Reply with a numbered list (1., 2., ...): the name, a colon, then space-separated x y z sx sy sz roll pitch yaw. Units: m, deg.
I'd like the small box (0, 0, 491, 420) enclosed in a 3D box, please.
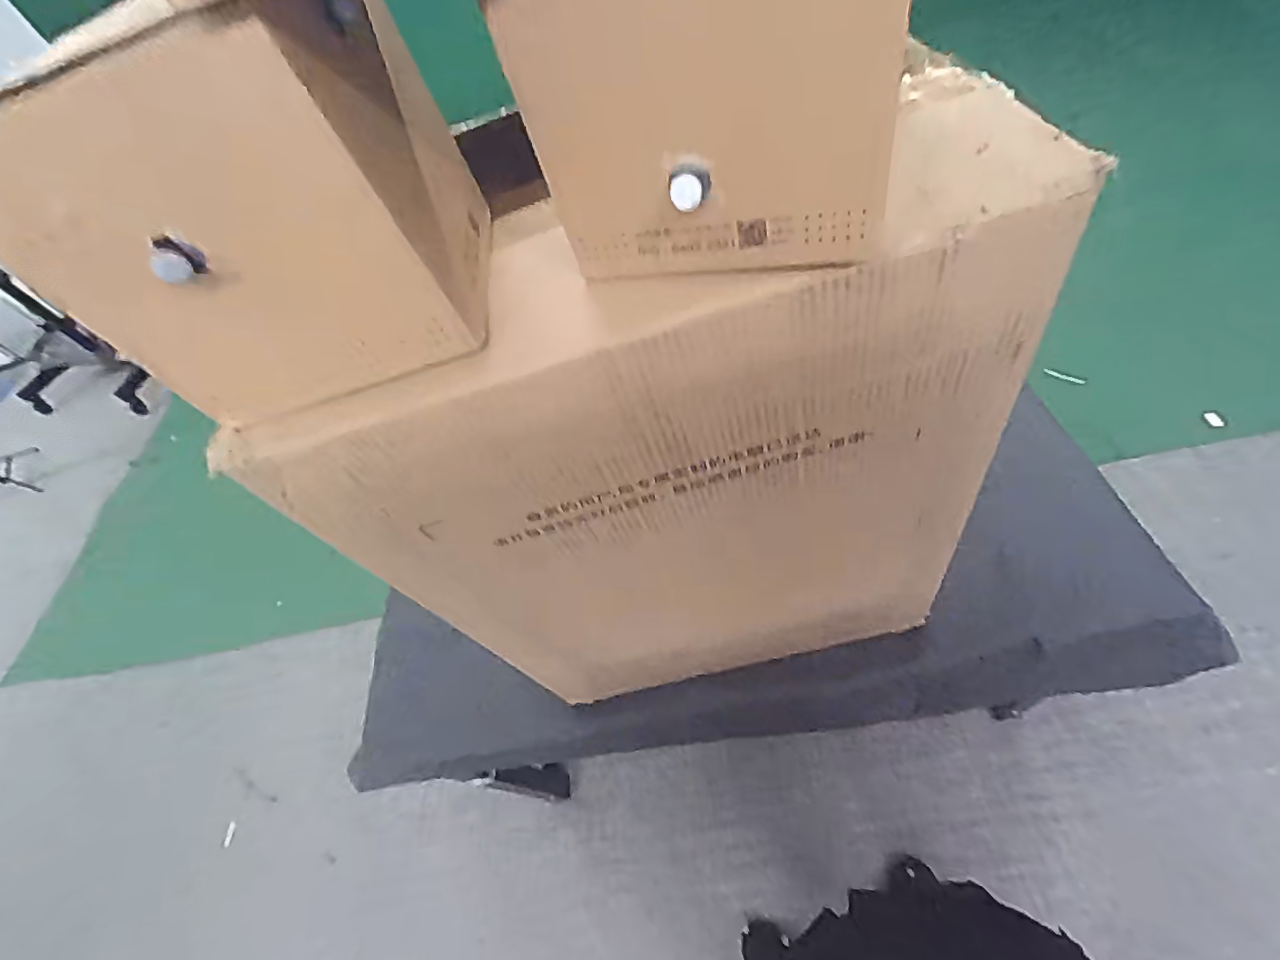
1. small box: -0.209 -0.160 0.316 0.179 0.176 0.168 -16 54 8
